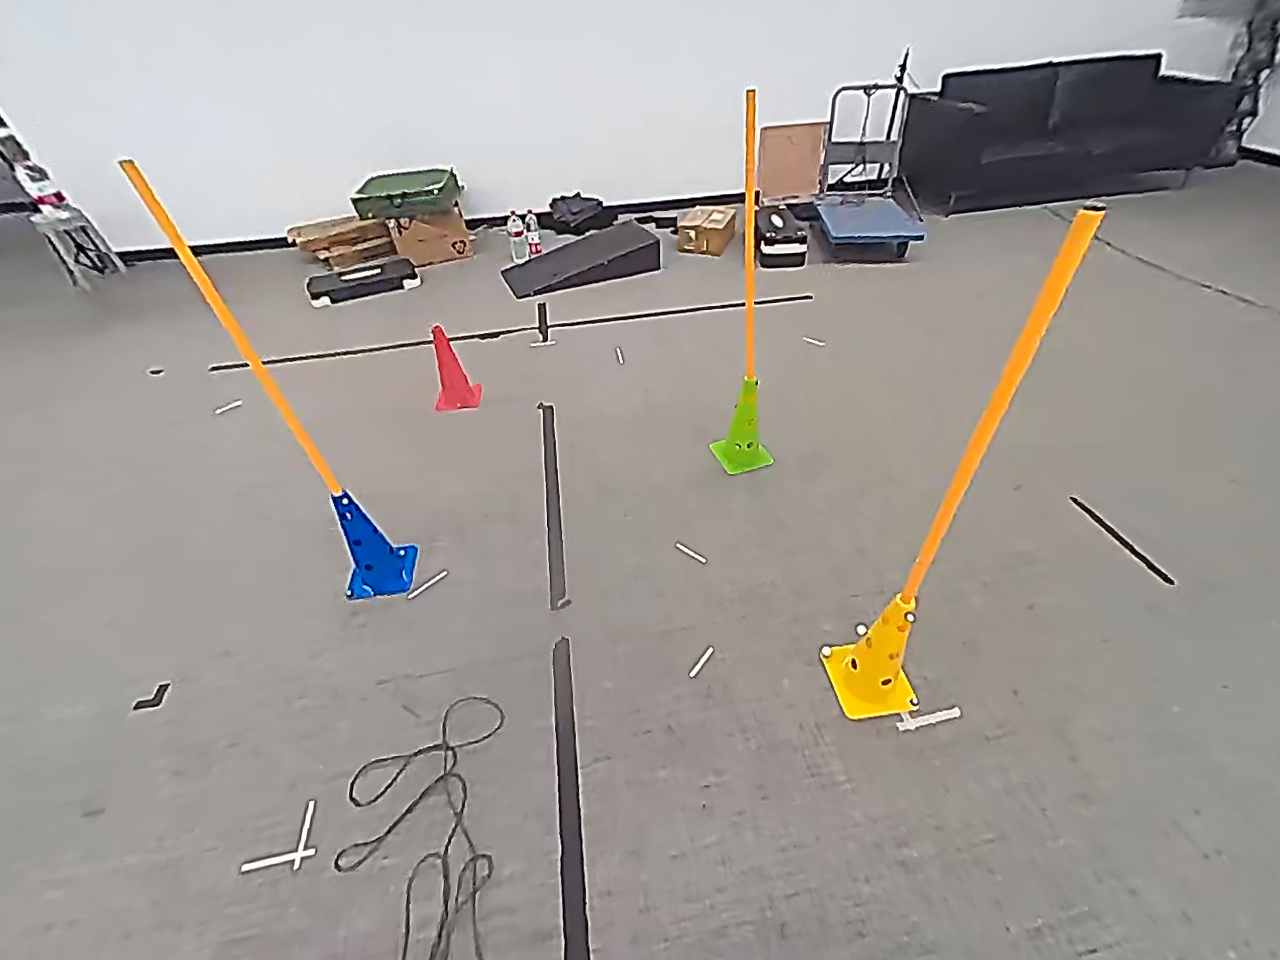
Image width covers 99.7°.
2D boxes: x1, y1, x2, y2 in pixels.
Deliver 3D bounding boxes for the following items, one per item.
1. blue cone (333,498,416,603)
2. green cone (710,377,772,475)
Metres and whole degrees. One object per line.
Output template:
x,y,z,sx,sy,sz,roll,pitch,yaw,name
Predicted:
-0.850,0.195,1.669,0.193,0.380,0.192,-7,42,-3,blue cone
0.394,-0.228,2.041,0.200,0.368,0.202,-16,45,-13,green cone
